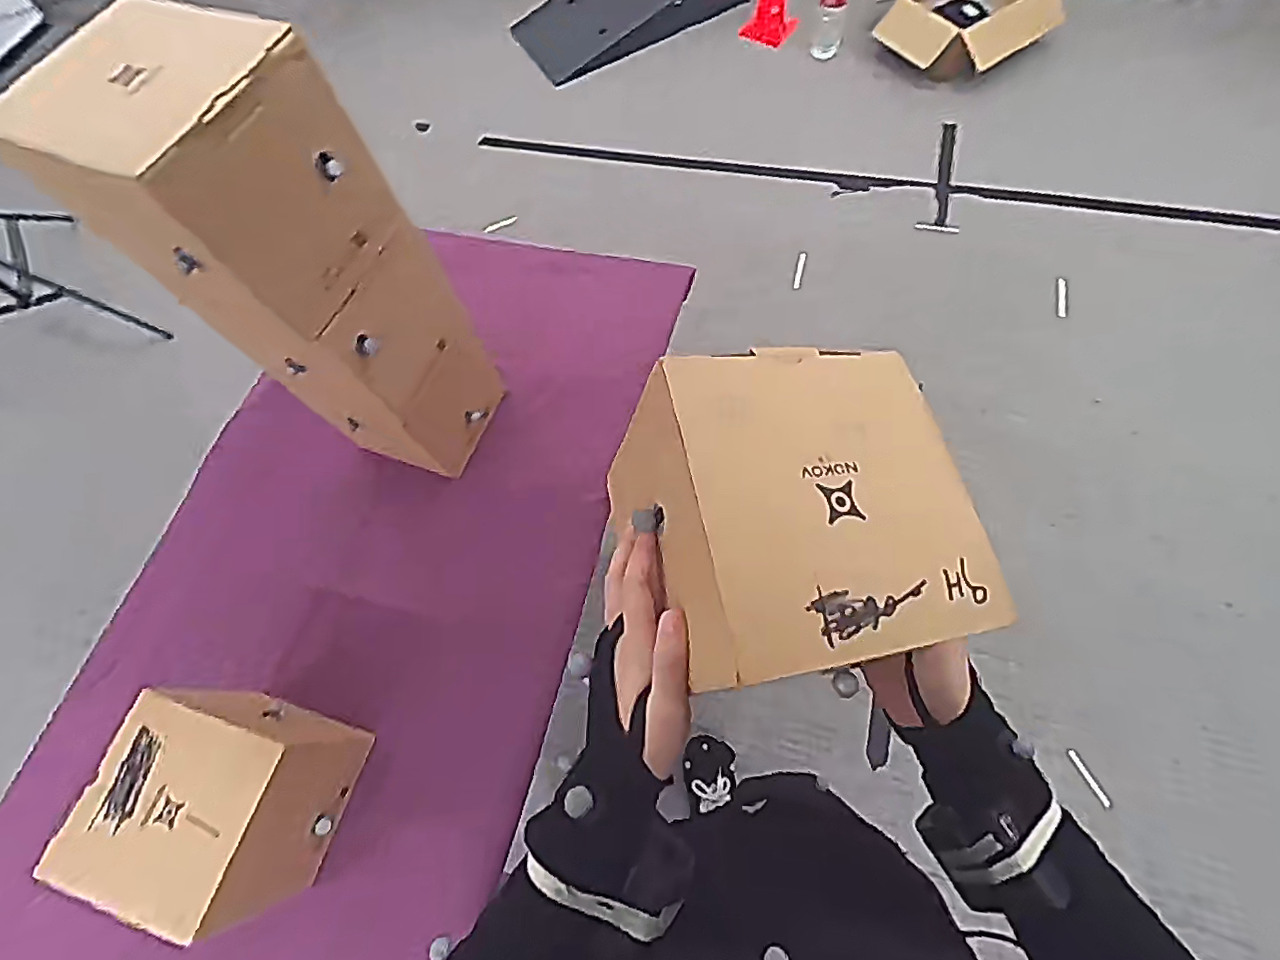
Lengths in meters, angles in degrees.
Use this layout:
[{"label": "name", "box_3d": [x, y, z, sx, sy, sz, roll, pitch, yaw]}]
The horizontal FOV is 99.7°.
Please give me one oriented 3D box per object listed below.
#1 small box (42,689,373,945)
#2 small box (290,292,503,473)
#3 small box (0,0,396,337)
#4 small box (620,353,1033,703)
[{"label": "small box", "box_3d": [-0.432, 0.335, 0.575, 0.179, 0.176, 0.168, 14, 70, 10]}, {"label": "small box", "box_3d": [-0.323, -0.127, 0.755, 0.179, 0.176, 0.168, 18, 71, 12]}, {"label": "small box", "box_3d": [-0.346, -0.245, 0.451, 0.179, 0.176, 0.168, 19, 70, 14]}, {"label": "small box", "box_3d": [0.090, 0.037, 0.356, 0.168, 0.176, 0.179, -5, 67, -15]}]
